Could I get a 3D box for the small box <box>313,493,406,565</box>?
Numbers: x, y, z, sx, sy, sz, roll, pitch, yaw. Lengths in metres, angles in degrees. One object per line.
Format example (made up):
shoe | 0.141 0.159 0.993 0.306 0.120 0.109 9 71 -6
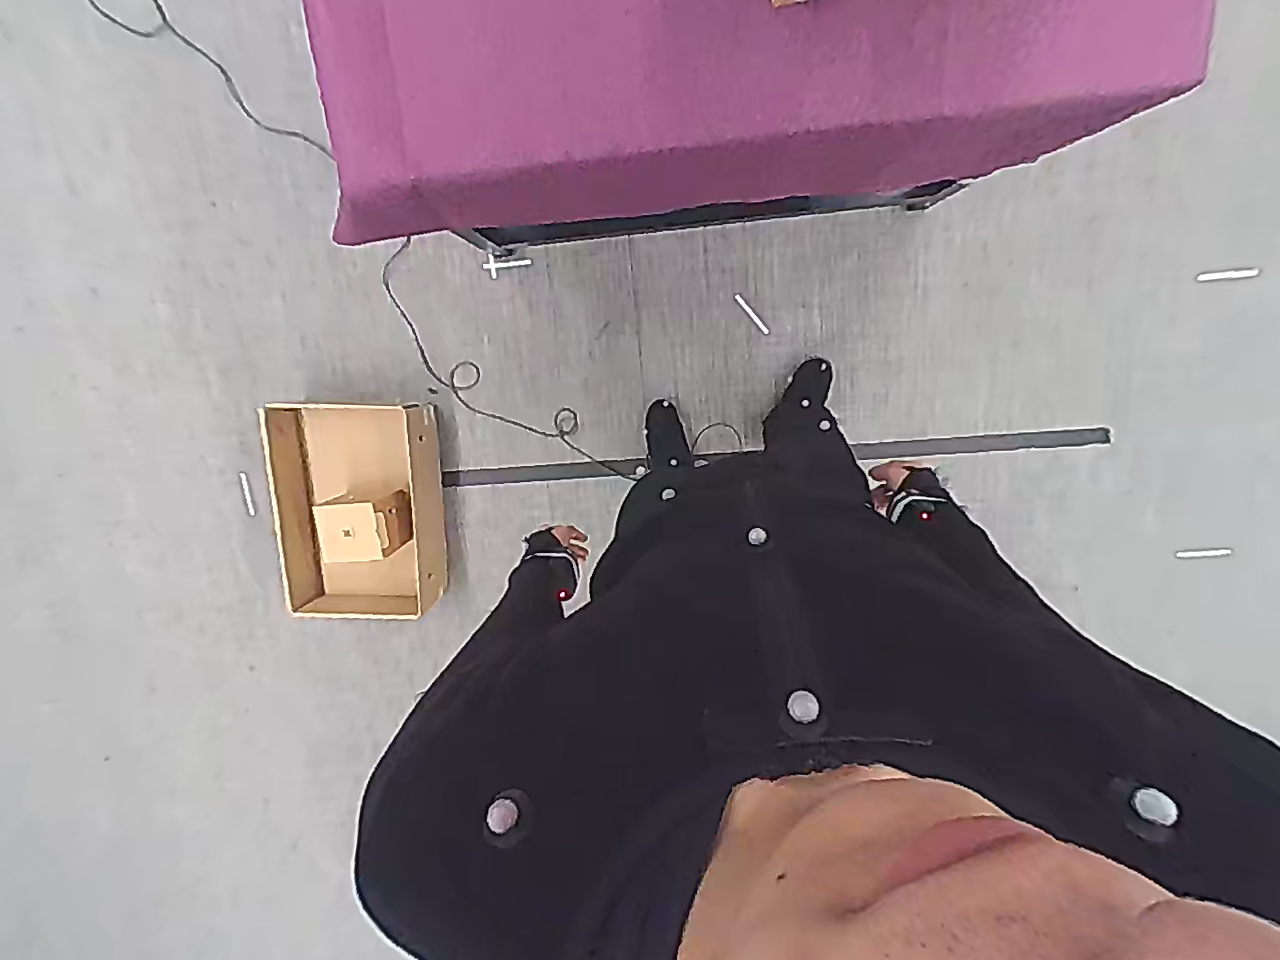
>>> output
small box | -0.793 0.136 1.554 0.179 0.176 0.168 -4 101 3
